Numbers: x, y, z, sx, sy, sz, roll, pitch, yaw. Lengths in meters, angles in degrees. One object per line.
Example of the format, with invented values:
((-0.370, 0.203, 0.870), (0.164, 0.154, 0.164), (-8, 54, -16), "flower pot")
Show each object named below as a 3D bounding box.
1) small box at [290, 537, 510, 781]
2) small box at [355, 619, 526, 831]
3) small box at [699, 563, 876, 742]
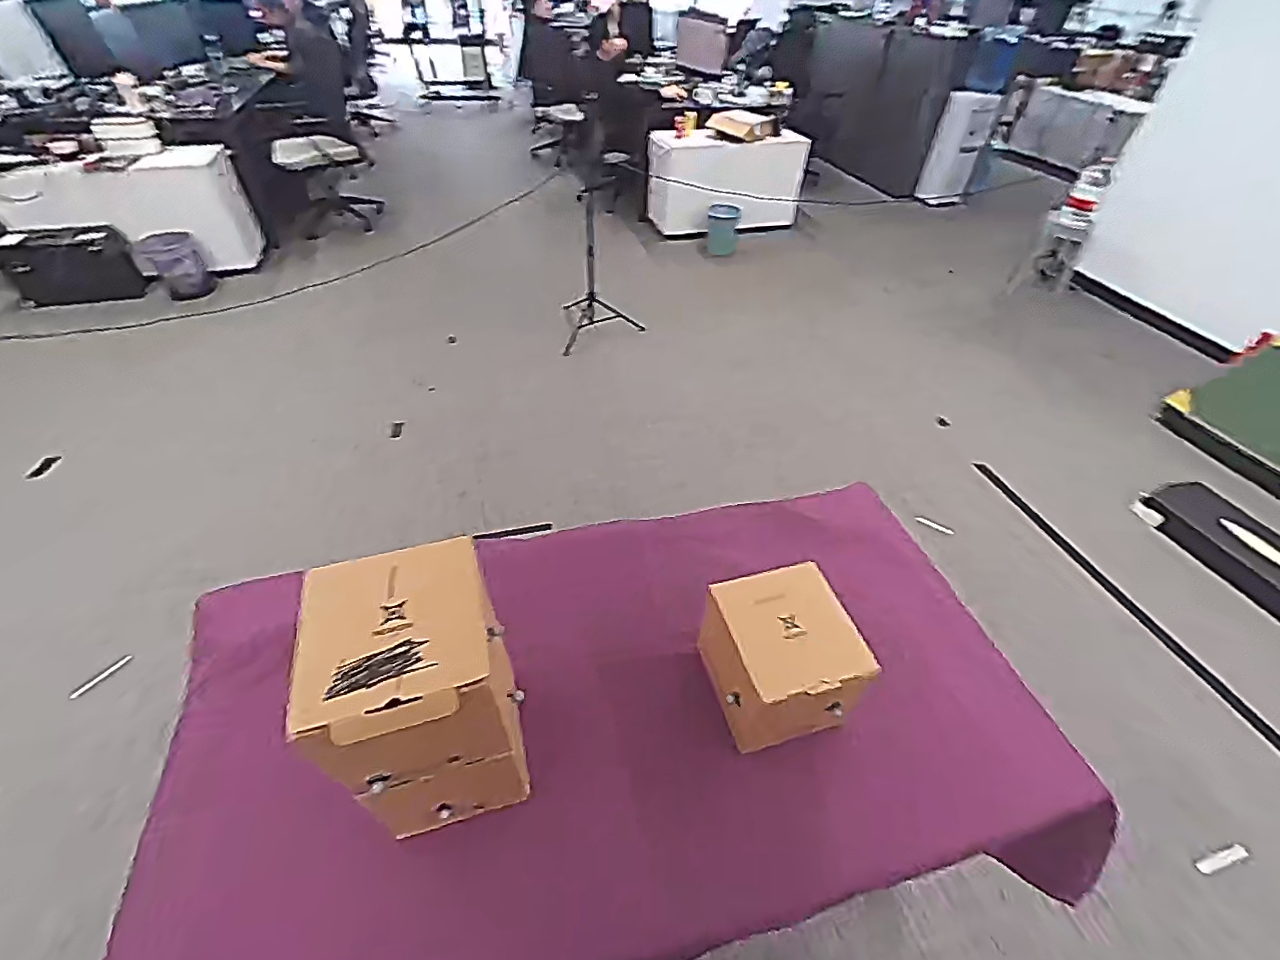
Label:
((-0.239, 0.192, 0.572), (0.168, 0.176, 0.179), (-11, 46, -15), "small box")
((-0.244, 0.309, 0.687), (0.168, 0.176, 0.179), (-10, 47, -14), "small box")
((0.194, 0.250, 0.769), (0.168, 0.176, 0.179), (-10, 46, -13), "small box")
